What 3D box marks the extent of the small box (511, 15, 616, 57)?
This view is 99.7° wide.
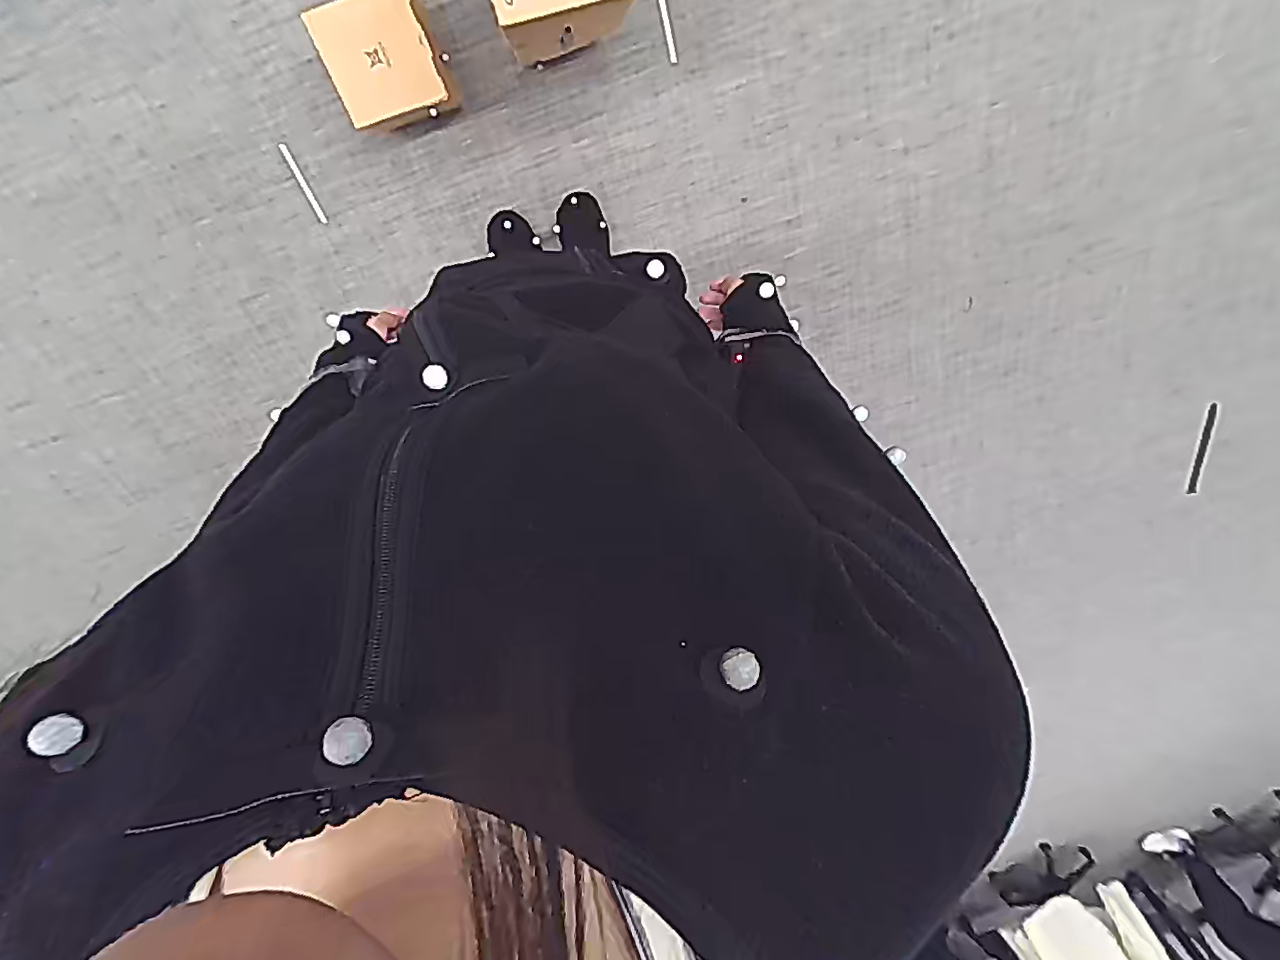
[{"bbox_3d":[-0.135,-0.764,0.809,0.179,0.176,0.168,-17,123,1],"label":"small box"}]

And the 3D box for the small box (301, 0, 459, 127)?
[{"bbox_3d":[-0.448,-0.750,0.965,0.179,0.176,0.168,-18,122,2],"label":"small box"}]

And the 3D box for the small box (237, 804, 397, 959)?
[{"bbox_3d":[-0.575,0.734,0.999,0.179,0.176,0.168,-19,122,4],"label":"small box"}]

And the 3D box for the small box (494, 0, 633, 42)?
[{"bbox_3d":[-0.112,-0.675,0.672,0.179,0.176,0.168,-15,123,-1],"label":"small box"}]
